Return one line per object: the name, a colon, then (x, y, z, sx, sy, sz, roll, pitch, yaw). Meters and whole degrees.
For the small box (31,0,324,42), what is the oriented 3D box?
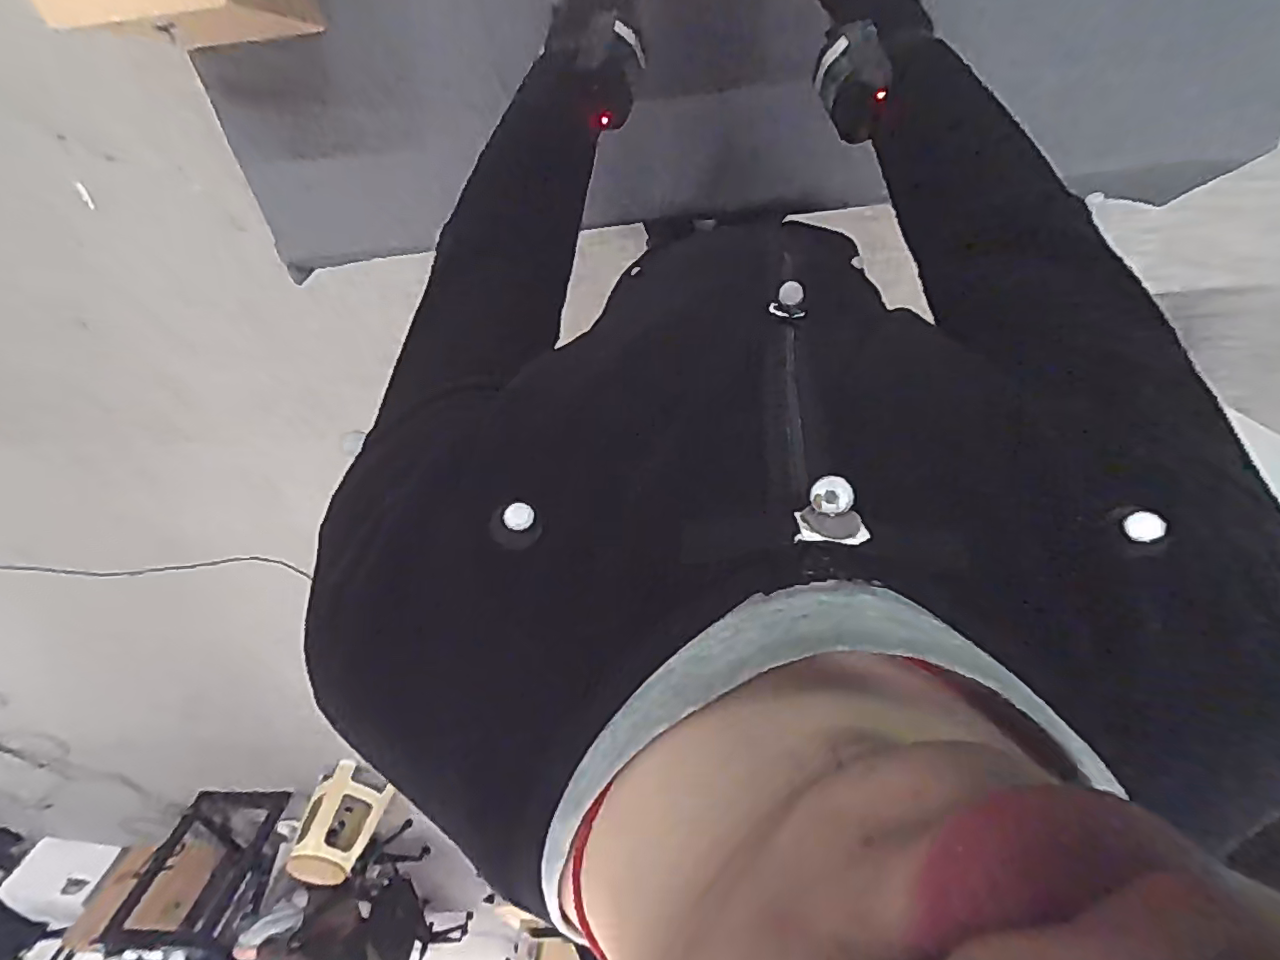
small box: (-0.431, -0.509, 0.481, 0.179, 0.176, 0.168, -3, 125, 4)
